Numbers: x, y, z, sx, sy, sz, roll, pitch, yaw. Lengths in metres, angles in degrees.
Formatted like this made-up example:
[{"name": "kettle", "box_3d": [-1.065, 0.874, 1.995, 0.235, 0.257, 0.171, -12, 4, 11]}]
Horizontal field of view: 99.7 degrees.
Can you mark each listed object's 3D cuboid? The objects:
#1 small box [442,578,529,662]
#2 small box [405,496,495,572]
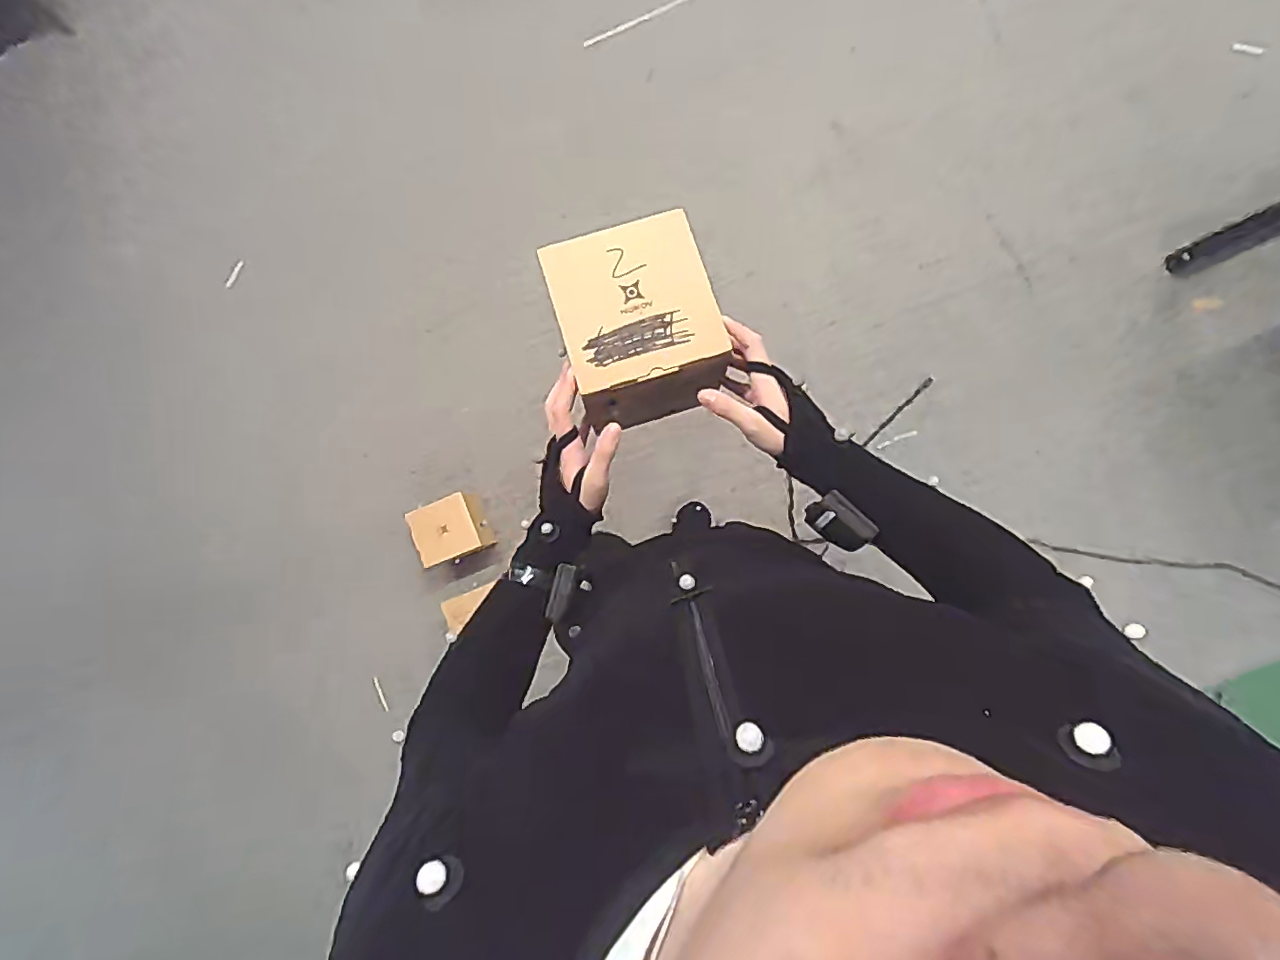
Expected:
[{"name": "small box", "box_3d": [-0.434, 0.395, 1.560, 0.179, 0.176, 0.168, -23, 86, 2]}, {"name": "small box", "box_3d": [-0.542, 0.151, 1.577, 0.179, 0.176, 0.168, -23, 87, 2]}]
